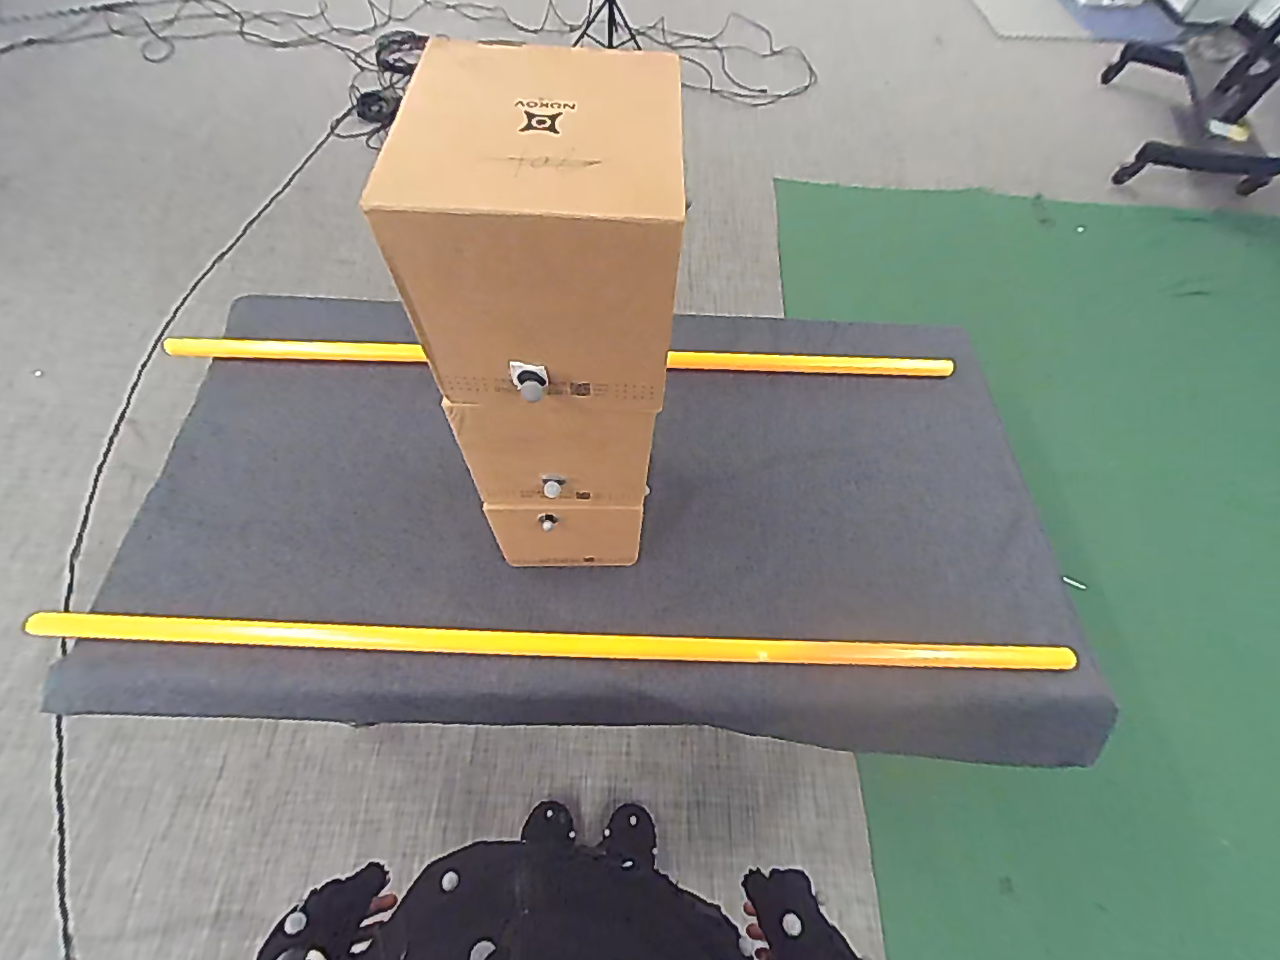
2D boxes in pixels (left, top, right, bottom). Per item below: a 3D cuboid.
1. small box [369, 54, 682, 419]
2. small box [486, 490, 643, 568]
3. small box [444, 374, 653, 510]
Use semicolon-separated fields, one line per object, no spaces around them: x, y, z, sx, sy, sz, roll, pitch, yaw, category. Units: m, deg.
-0.061;-0.165;0.390;0.168;0.176;0.179;1;61;-1;small box
-0.084;-0.003;0.672;0.168;0.176;0.179;0;60;-3;small box
-0.075;-0.088;0.531;0.168;0.176;0.179;1;61;-2;small box
